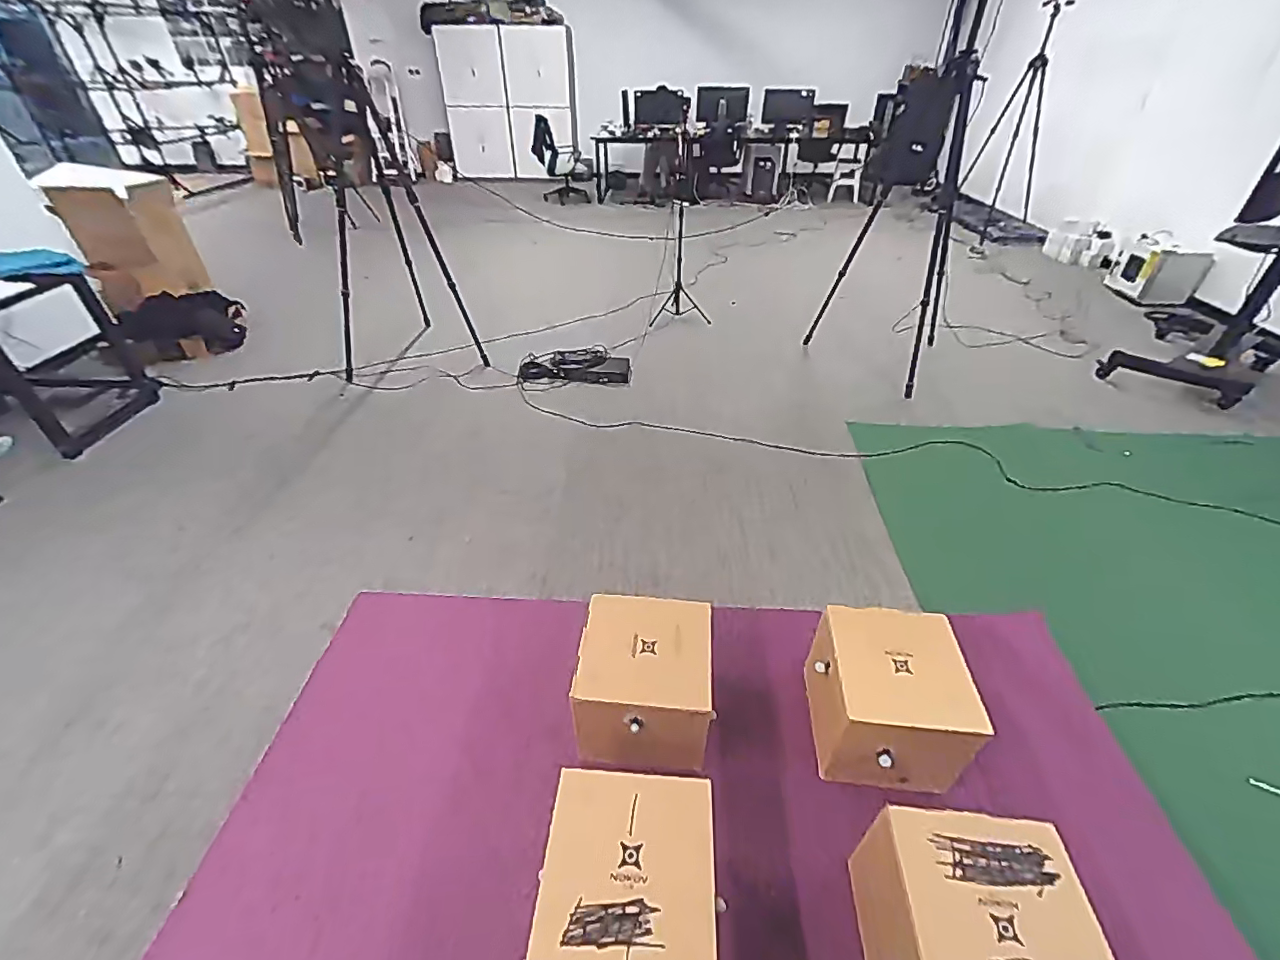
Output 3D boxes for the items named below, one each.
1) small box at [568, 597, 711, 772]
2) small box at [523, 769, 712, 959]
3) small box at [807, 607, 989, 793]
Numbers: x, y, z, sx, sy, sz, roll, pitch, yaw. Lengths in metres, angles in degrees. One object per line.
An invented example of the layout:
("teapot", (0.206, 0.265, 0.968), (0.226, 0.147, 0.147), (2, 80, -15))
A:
("small box", (0.007, 0.289, 0.765), (0.179, 0.176, 0.168), (4, 39, 5))
("small box", (-0.012, 0.436, 0.564), (0.168, 0.176, 0.179), (3, 35, 3))
("small box", (0.334, 0.301, 0.742), (0.168, 0.176, 0.179), (3, 37, 6))
